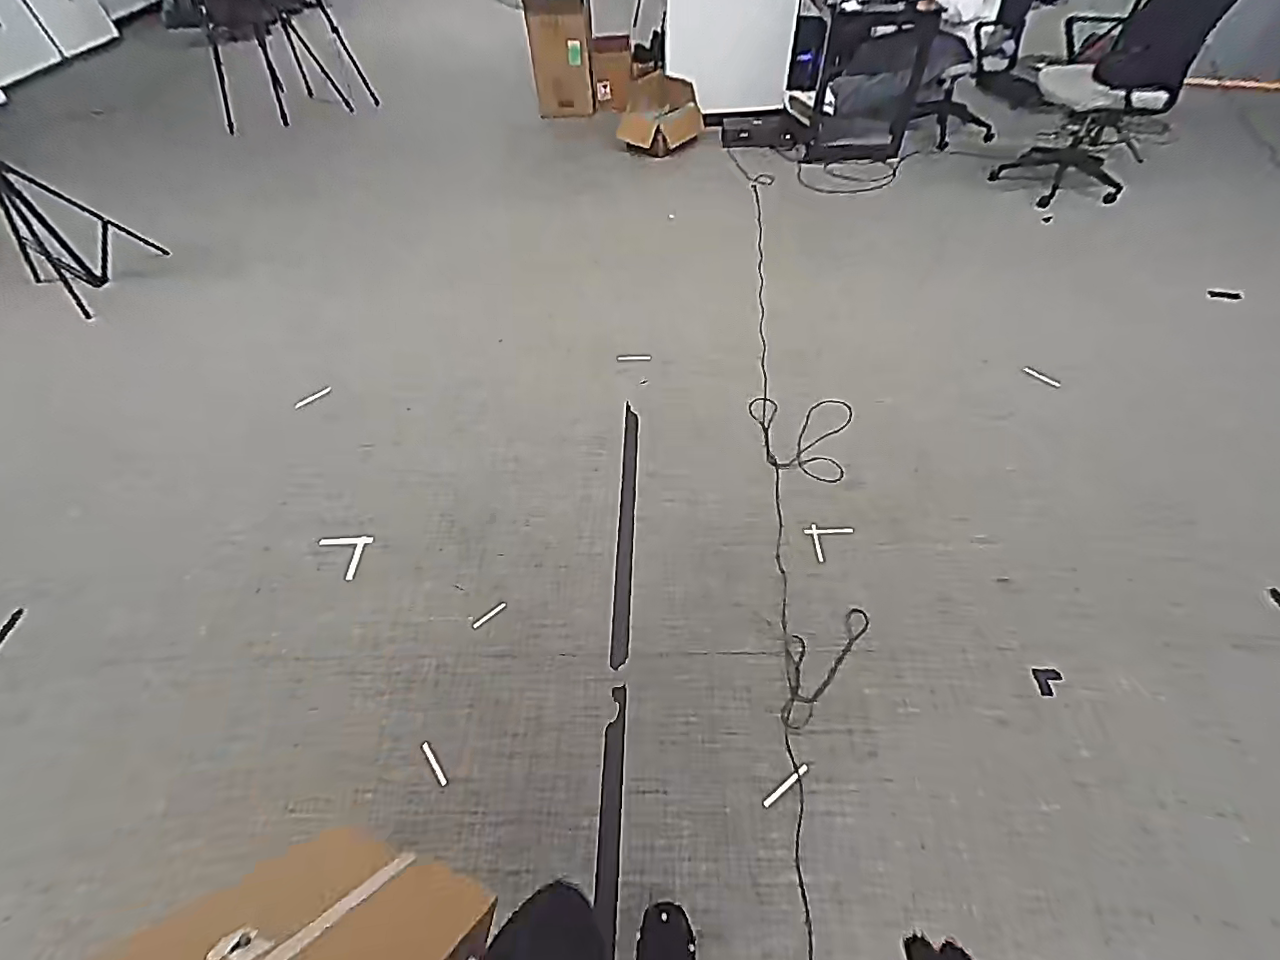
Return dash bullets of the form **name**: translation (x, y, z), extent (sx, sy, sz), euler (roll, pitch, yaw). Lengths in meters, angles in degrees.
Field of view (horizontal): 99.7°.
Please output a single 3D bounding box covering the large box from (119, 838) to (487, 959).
- **large box**: translation (-0.448, 0.731, 0.654), extent (0.320, 0.408, 0.320), euler (10, 81, 15)
